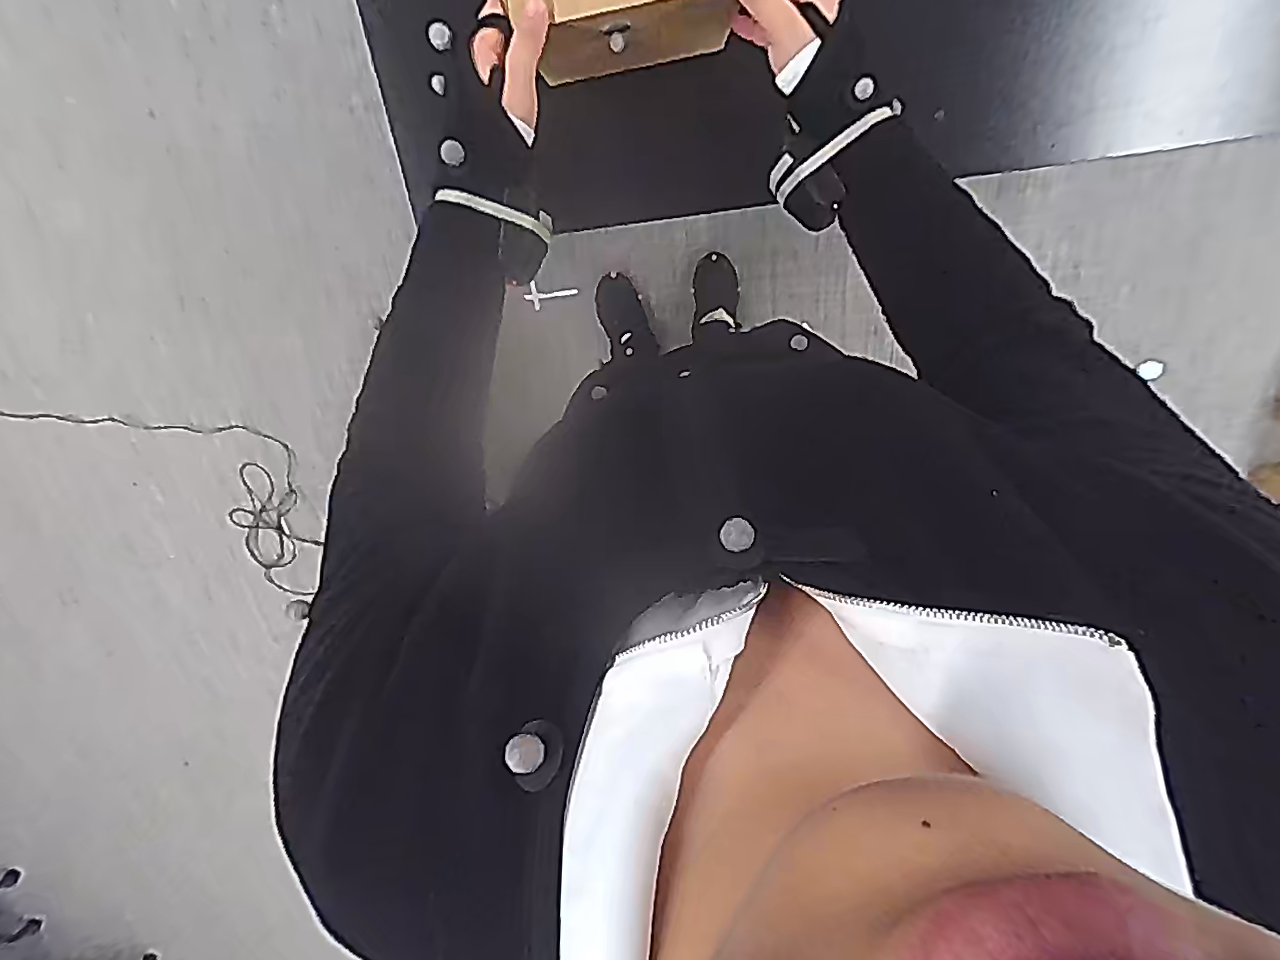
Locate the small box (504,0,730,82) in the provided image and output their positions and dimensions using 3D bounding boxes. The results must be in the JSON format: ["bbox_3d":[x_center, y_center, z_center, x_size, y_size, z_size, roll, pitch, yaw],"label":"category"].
[{"bbox_3d":[-0.020,-0.445,0.430,0.179,0.176,0.168,-8,115,4],"label":"small box"}]

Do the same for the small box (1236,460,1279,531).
[{"bbox_3d":[1.877,0.046,1.534,0.179,0.176,0.168,-9,114,4],"label":"small box"}]

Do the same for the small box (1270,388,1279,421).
[{"bbox_3d":[1.831,-0.220,1.409,0.168,0.176,0.179,-5,114,1],"label":"small box"}]
